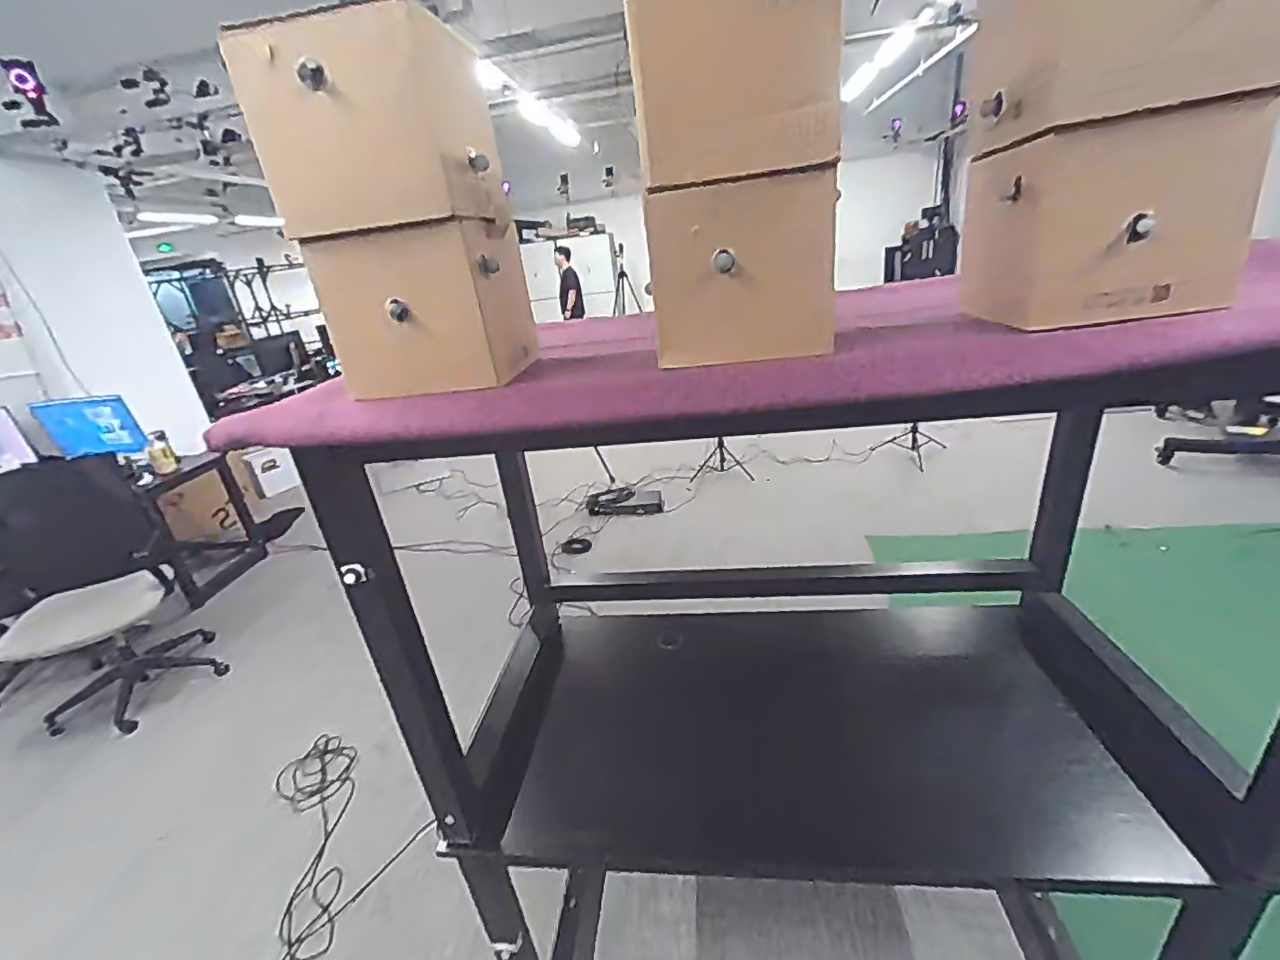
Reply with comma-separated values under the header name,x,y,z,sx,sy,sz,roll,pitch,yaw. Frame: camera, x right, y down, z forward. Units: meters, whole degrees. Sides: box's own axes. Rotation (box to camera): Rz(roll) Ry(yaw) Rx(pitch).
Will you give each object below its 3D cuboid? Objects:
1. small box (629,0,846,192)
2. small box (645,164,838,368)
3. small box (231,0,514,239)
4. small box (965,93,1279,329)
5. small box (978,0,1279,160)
name,x,y,z,sx,sy,sz,roll,pitch,yaw
small box,0.096,-0.371,0.517,0.179,0.176,0.168,-1,24,12
small box,0.112,-0.223,0.586,0.179,0.176,0.168,-3,24,11
small box,-0.250,-0.346,0.553,0.179,0.176,0.168,-3,24,8
small box,0.448,-0.249,0.538,0.168,0.176,0.179,-4,22,11
small box,0.422,-0.393,0.467,0.179,0.176,0.168,-6,20,11
